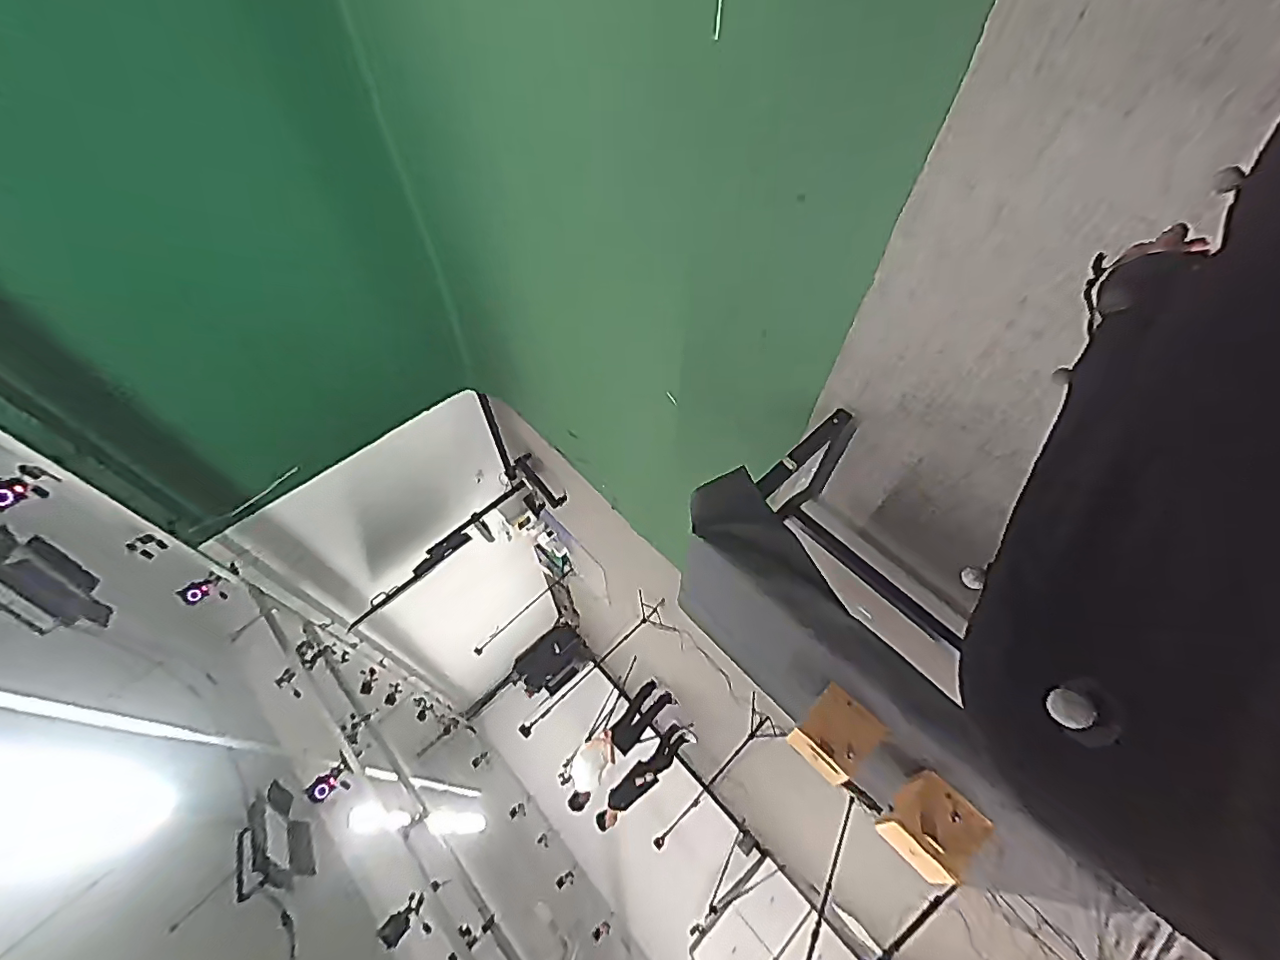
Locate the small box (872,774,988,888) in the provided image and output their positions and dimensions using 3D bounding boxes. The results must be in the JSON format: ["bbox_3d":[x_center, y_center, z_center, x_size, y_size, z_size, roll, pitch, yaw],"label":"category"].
[{"bbox_3d":[0.717,0.865,1.341,0.168,0.176,0.179,41,155,28],"label":"small box"}]
